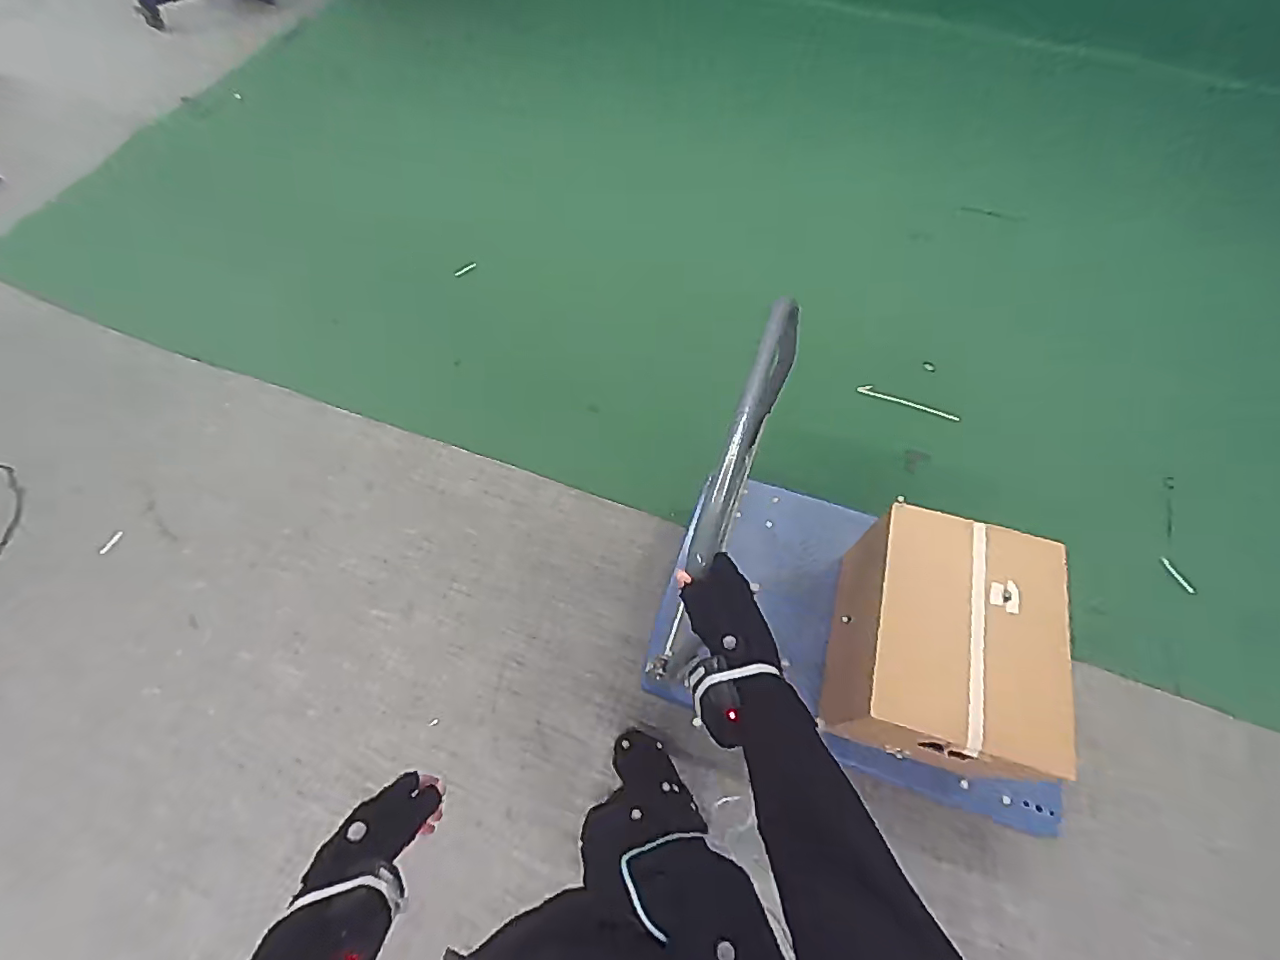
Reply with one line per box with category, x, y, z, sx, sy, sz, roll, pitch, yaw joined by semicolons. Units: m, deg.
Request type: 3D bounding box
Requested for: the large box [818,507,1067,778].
large box;0.569;0.328;1.073;0.320;0.320;0.408;16;62;8
